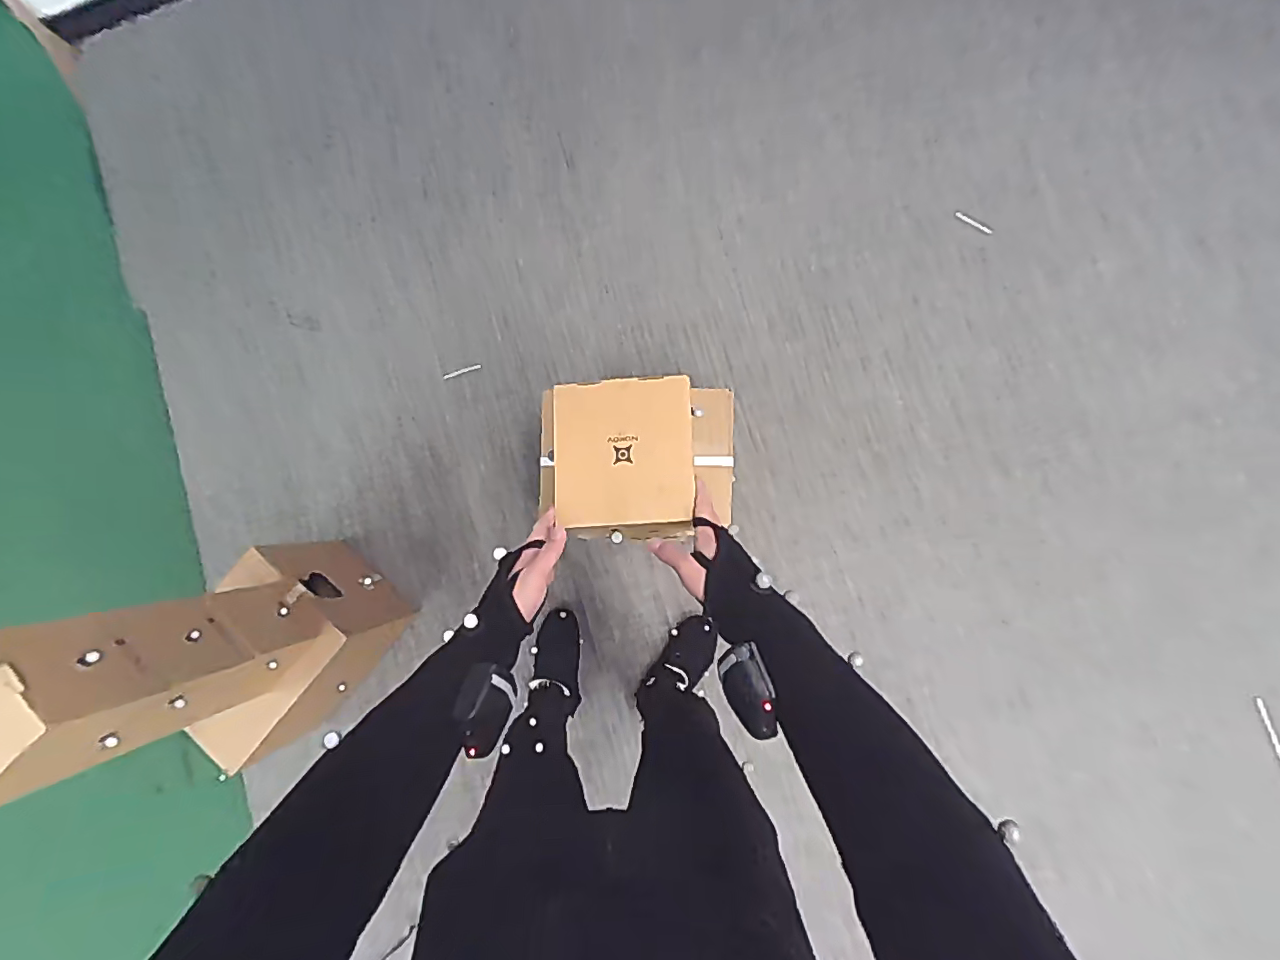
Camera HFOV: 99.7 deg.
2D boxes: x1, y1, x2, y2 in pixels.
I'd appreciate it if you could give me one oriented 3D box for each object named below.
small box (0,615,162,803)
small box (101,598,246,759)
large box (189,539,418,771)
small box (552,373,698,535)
[{"bbox_3d":[-0.843,0.316,0.768,0.179,0.176,0.168,-45,83,0],"label":"small box"},{"bbox_3d":[-0.832,0.325,0.931,0.168,0.176,0.179,45,91,7],"label":"small box"},{"bbox_3d":[-0.849,0.398,1.341,0.320,0.320,0.408,40,91,8],"label":"large box"},{"bbox_3d":[-0.012,-0.021,0.705,0.168,0.176,0.179,-4,78,6],"label":"small box"}]
